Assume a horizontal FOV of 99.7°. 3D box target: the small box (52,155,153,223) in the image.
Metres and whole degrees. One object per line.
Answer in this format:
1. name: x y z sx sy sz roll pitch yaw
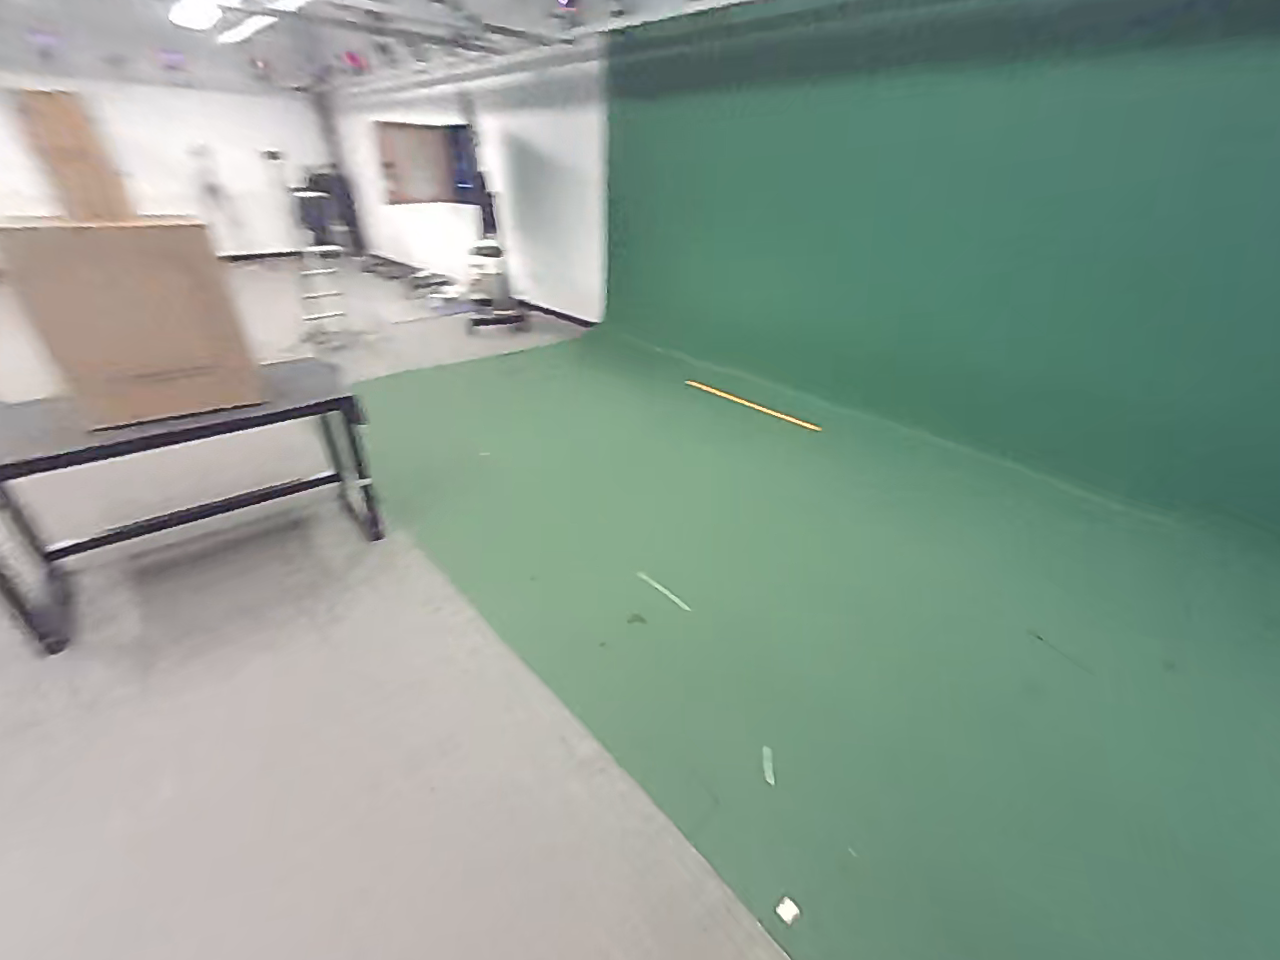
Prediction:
1. small box: -1.662 -0.908 1.686 0.168 0.176 0.179 -14 36 -27
